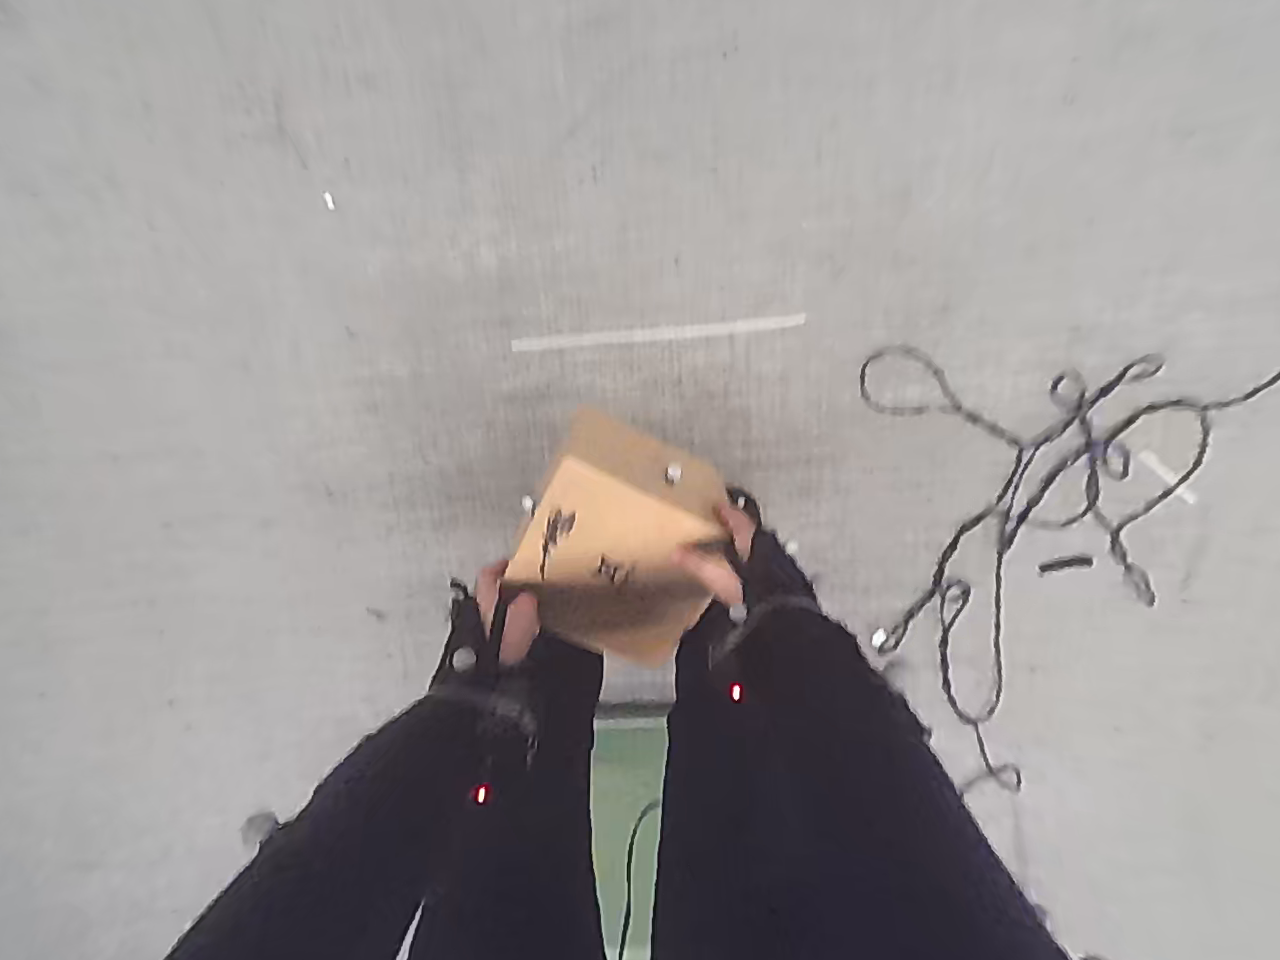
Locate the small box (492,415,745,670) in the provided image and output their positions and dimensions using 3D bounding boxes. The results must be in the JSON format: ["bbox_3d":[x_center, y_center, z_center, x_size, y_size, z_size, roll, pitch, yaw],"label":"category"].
[{"bbox_3d":[-0.024,0.052,0.554,0.179,0.176,0.168,26,108,-12],"label":"small box"}]
